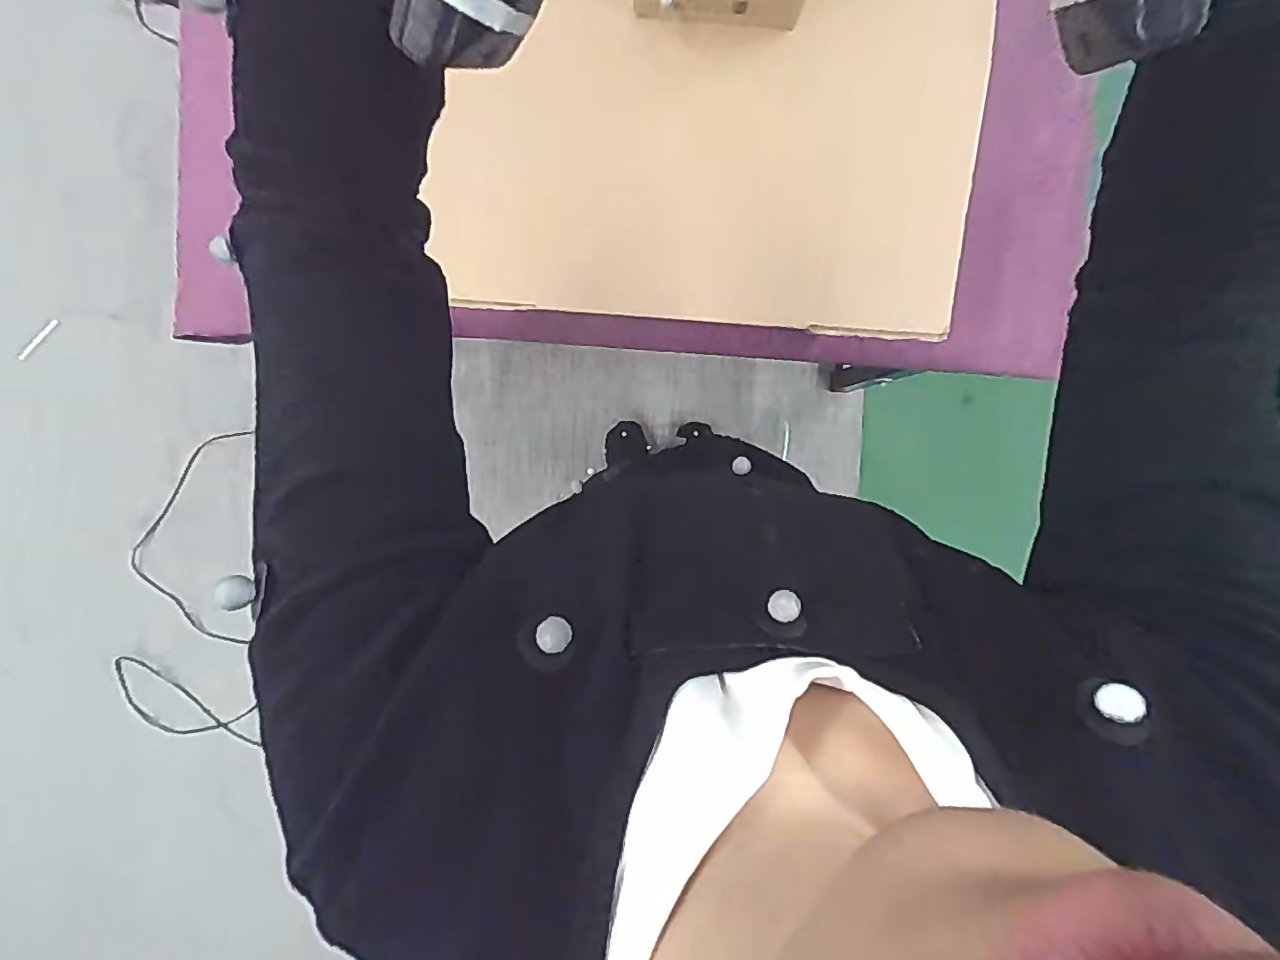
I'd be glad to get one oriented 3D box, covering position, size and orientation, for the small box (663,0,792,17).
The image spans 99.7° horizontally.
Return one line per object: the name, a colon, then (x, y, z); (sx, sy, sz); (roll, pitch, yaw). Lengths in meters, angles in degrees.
small box: (0.077, -0.551, 0.462); (0.168, 0.176, 0.179); (4, 90, -2)
